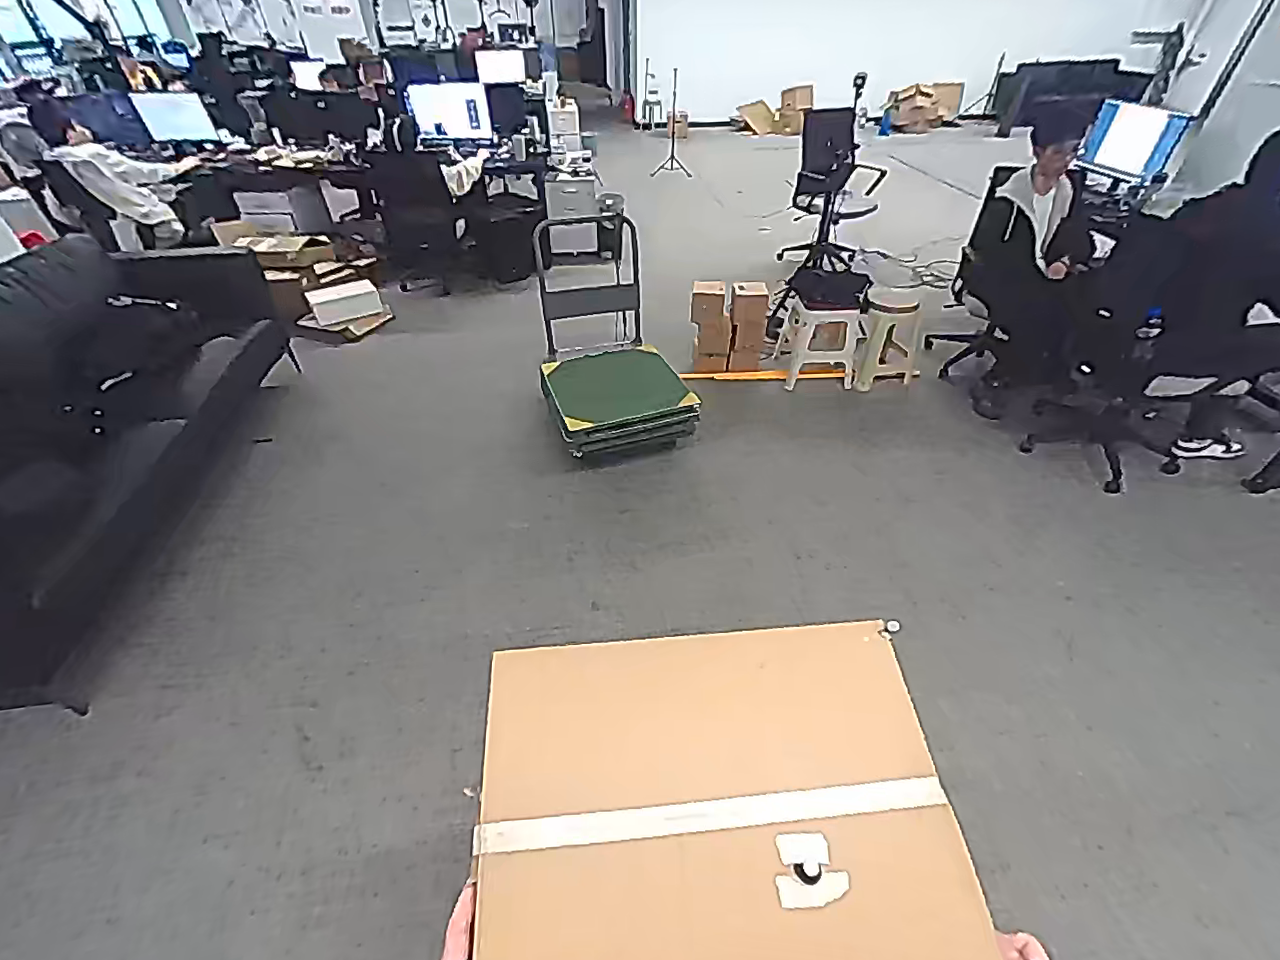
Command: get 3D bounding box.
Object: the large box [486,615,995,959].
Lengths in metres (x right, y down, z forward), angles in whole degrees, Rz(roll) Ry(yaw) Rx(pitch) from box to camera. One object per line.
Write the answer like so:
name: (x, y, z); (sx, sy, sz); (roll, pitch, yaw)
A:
large box: (0.063, 0.371, 0.603); (0.408, 0.320, 0.320); (-4, 56, -4)
